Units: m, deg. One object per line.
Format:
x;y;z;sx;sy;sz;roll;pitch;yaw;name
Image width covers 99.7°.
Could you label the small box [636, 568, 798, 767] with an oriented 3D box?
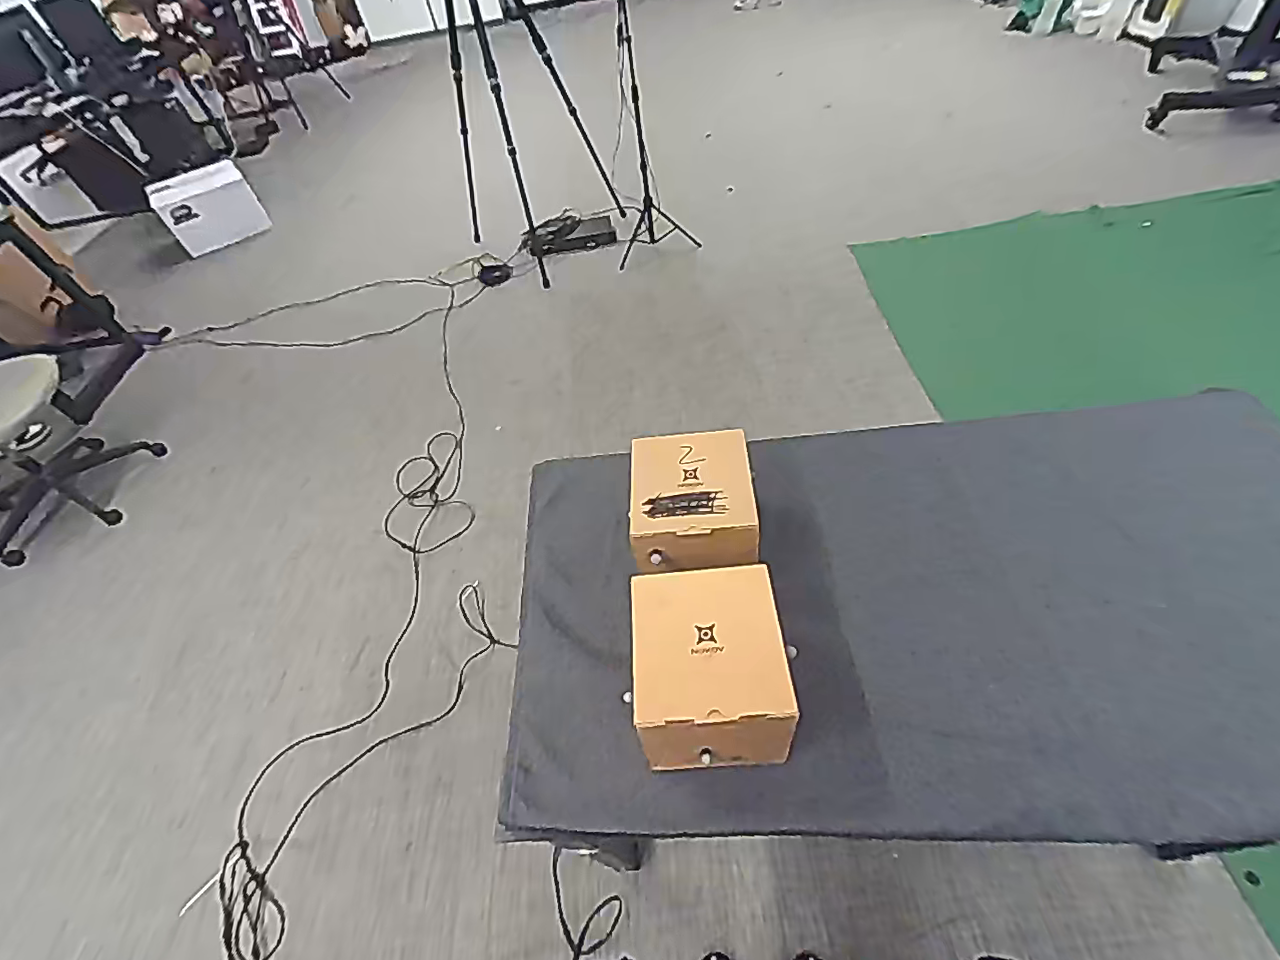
0.085;0.230;0.659;0.168;0.176;0.179;-6;48;4;small box
